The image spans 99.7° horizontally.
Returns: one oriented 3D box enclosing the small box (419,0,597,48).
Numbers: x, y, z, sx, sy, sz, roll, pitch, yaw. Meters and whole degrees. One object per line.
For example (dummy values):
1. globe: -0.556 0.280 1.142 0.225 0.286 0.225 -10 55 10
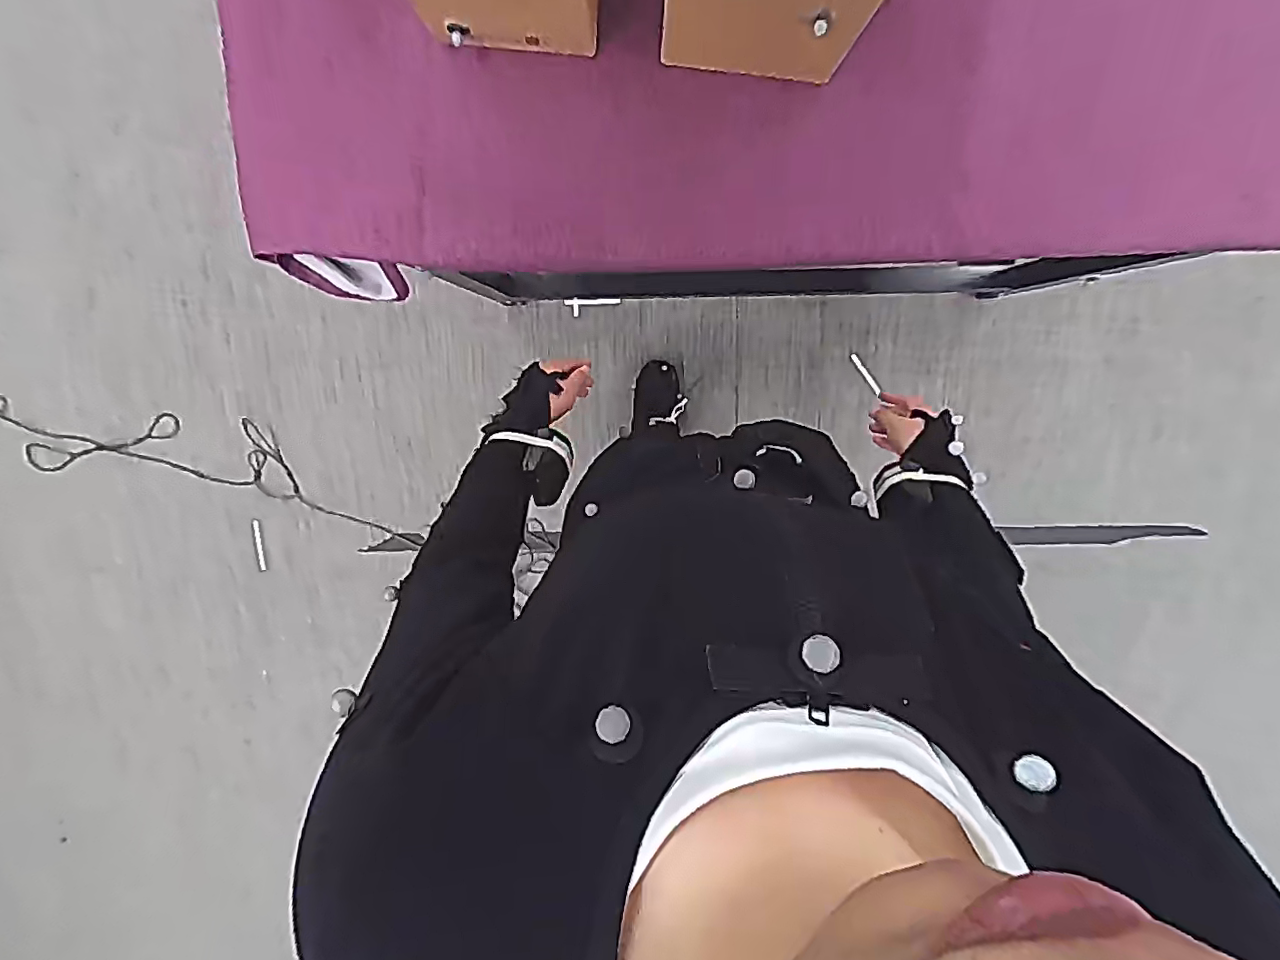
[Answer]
1. small box: -0.121 -0.508 0.454 0.168 0.176 0.179 4 102 -1
